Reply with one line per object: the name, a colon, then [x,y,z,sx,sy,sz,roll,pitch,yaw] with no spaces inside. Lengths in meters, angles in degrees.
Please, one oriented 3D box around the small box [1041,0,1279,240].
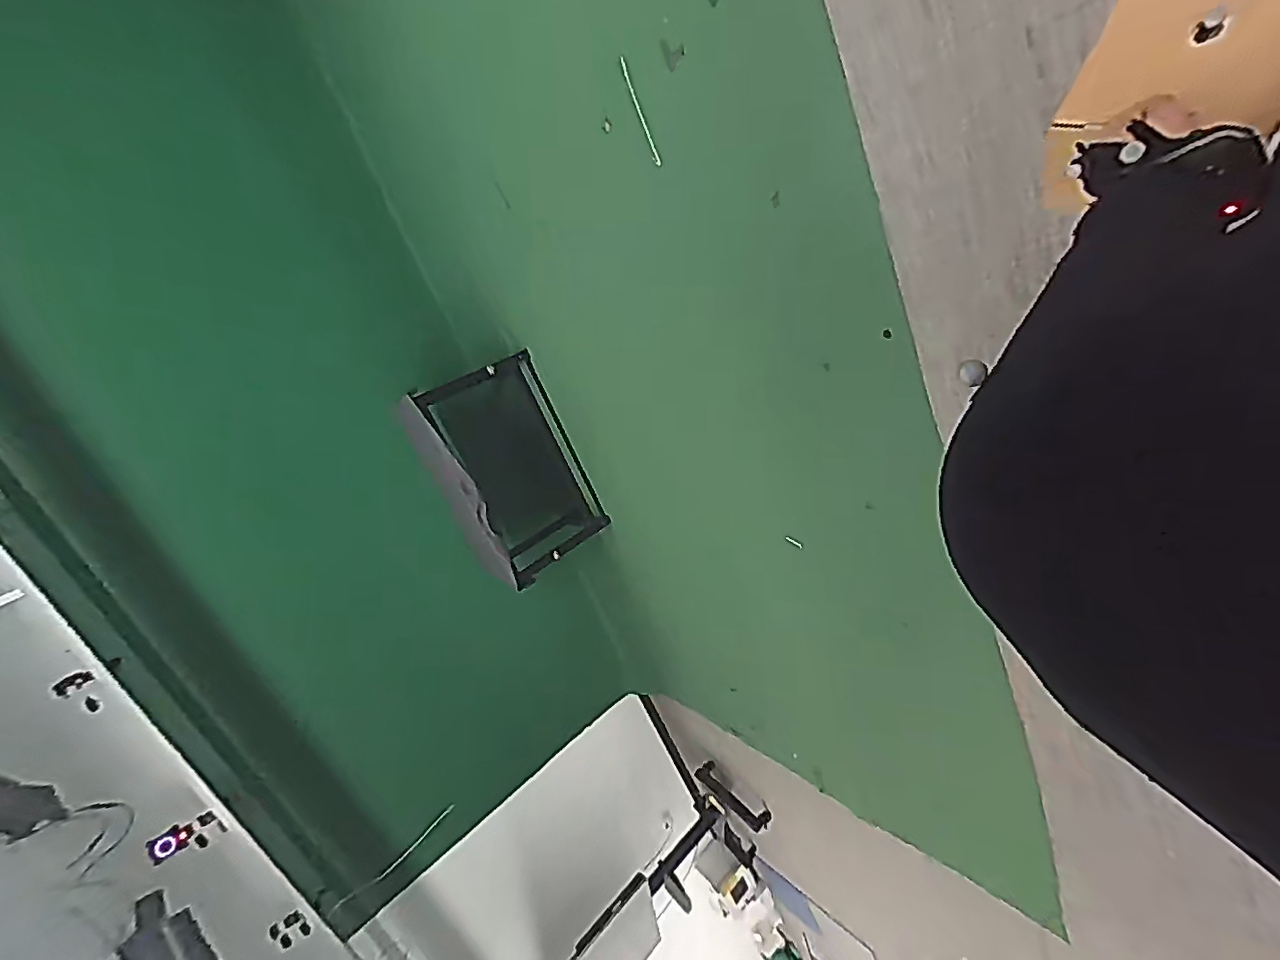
small box: [0.554,-0.382,0.560,0.168,0.179,0.176,30,100,34]
